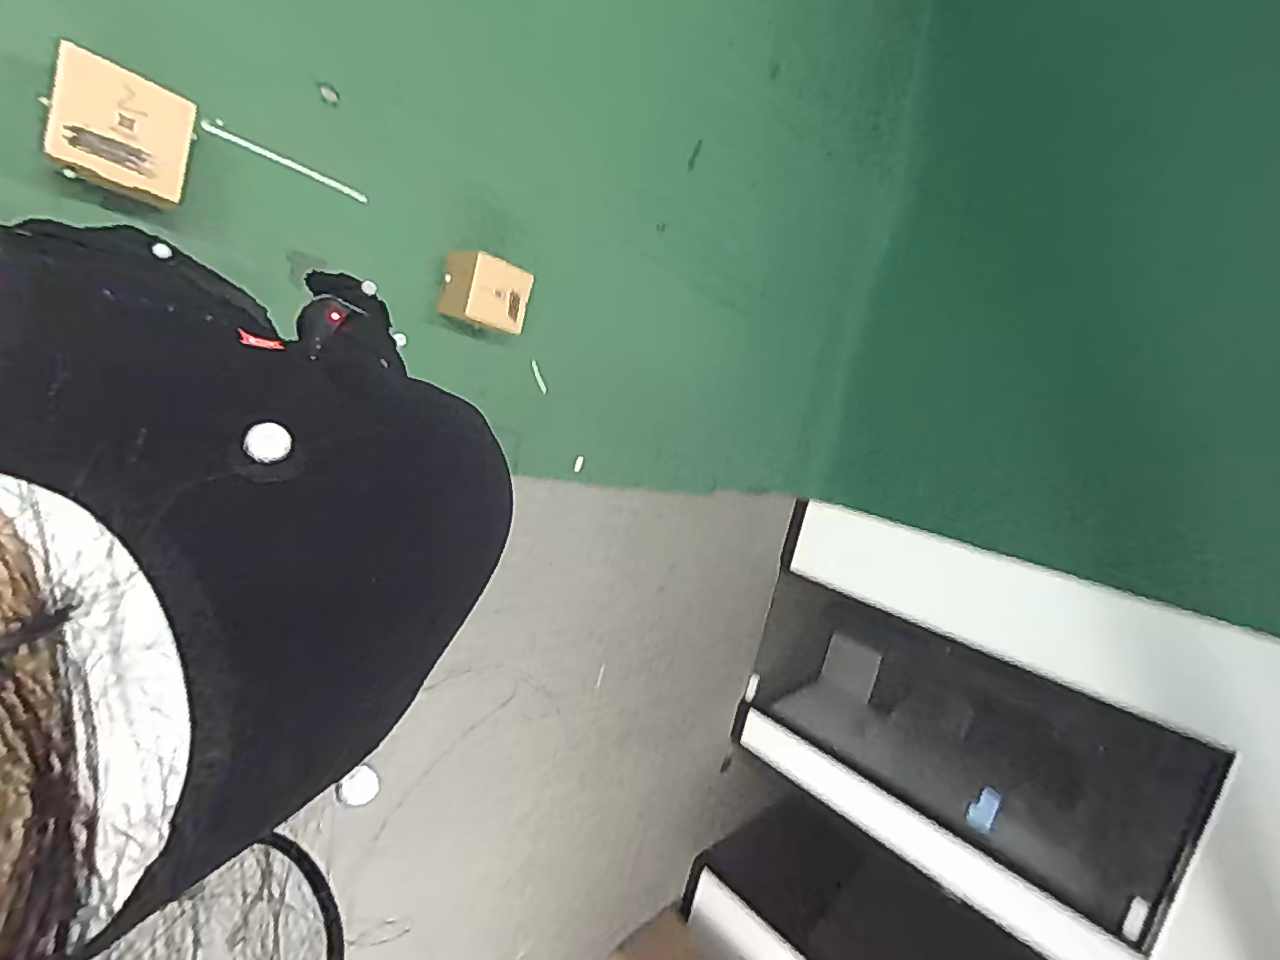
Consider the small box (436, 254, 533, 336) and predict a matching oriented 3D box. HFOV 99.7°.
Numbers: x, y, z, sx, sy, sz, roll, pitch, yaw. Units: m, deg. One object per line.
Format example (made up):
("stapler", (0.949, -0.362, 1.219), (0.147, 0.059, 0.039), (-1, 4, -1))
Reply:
("small box", (-0.432, -0.513, 1.494), (0.179, 0.176, 0.168), (9, 99, -48))
